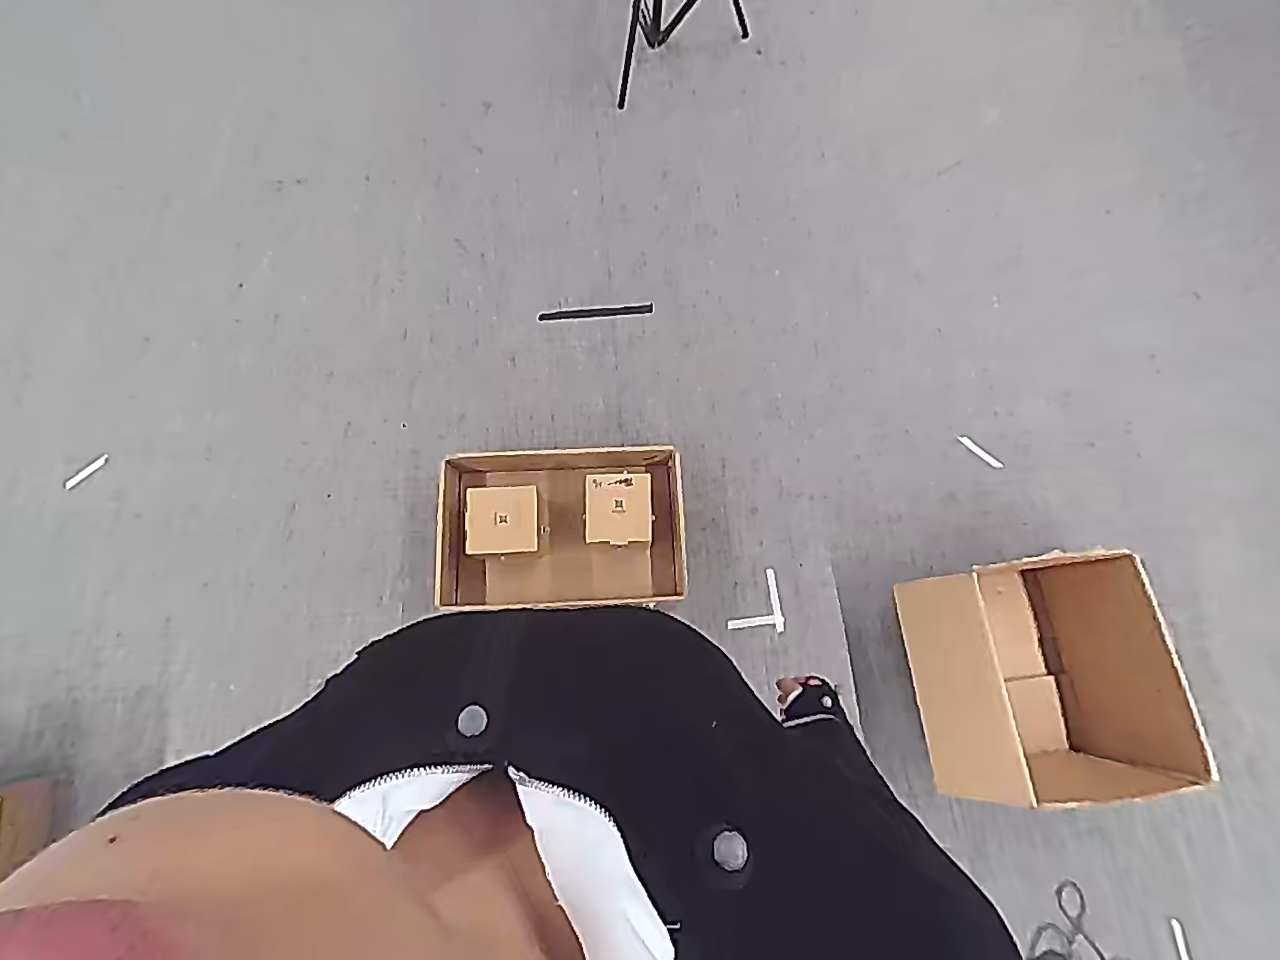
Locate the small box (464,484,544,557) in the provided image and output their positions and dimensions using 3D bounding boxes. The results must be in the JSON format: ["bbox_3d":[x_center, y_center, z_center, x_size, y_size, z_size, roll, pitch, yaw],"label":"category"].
[{"bbox_3d":[-0.350,0.110,1.408,0.179,0.176,0.168,-2,78,-5],"label":"small box"}]

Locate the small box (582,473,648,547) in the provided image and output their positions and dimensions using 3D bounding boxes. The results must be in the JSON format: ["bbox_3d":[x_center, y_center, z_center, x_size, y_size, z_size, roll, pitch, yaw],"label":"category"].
[{"bbox_3d":[-0.061,0.084,1.426,0.168,0.176,0.179,0,78,-2],"label":"small box"}]
